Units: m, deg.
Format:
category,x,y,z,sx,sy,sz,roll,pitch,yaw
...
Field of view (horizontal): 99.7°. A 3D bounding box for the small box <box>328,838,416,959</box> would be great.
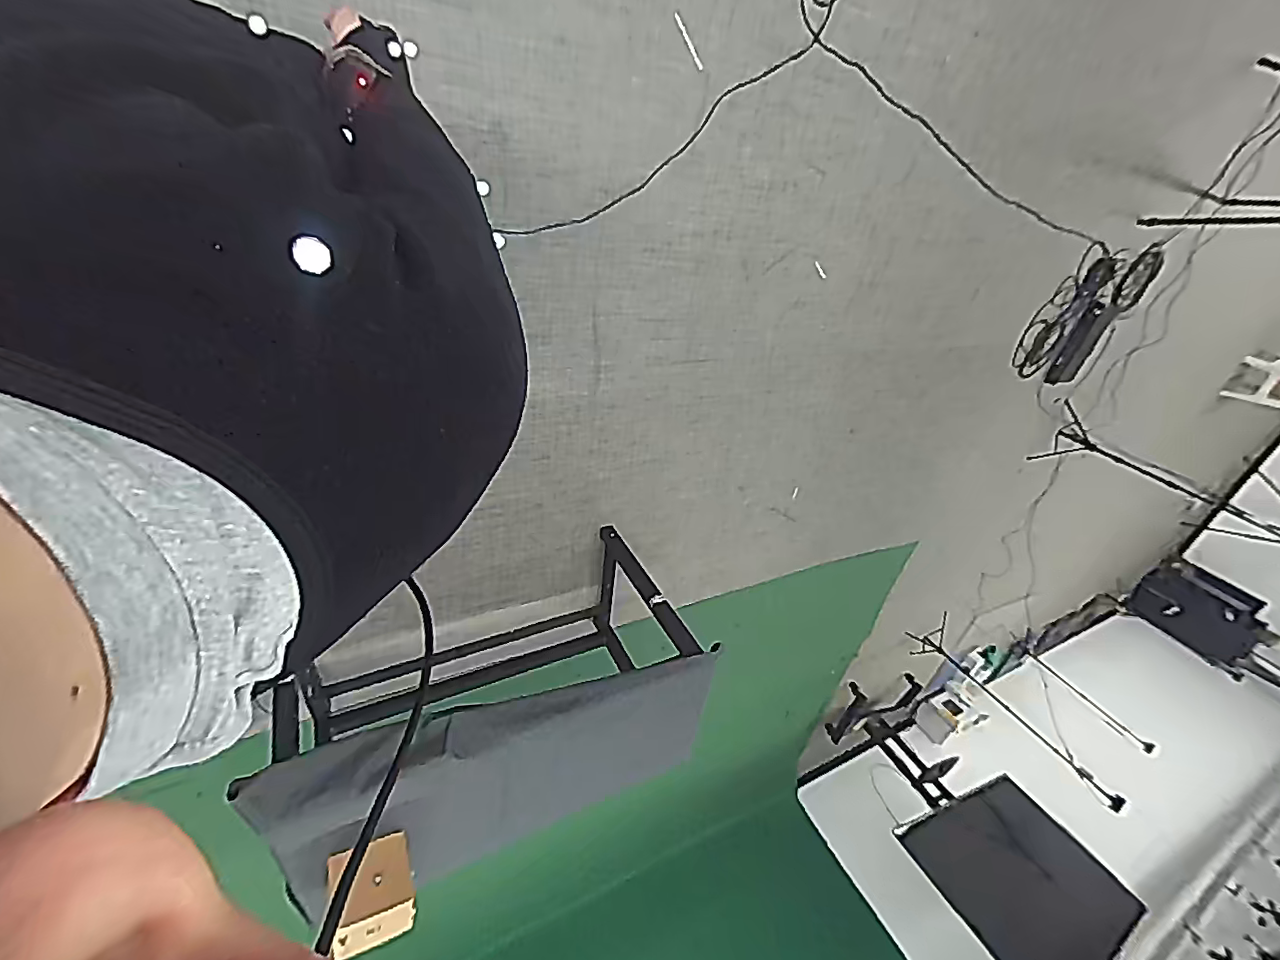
category,x,y,z,sx,sy,sz,roll,pitch,yaw
small box,-0.668,1.039,1.346,0.179,0.176,0.168,-5,124,-31
